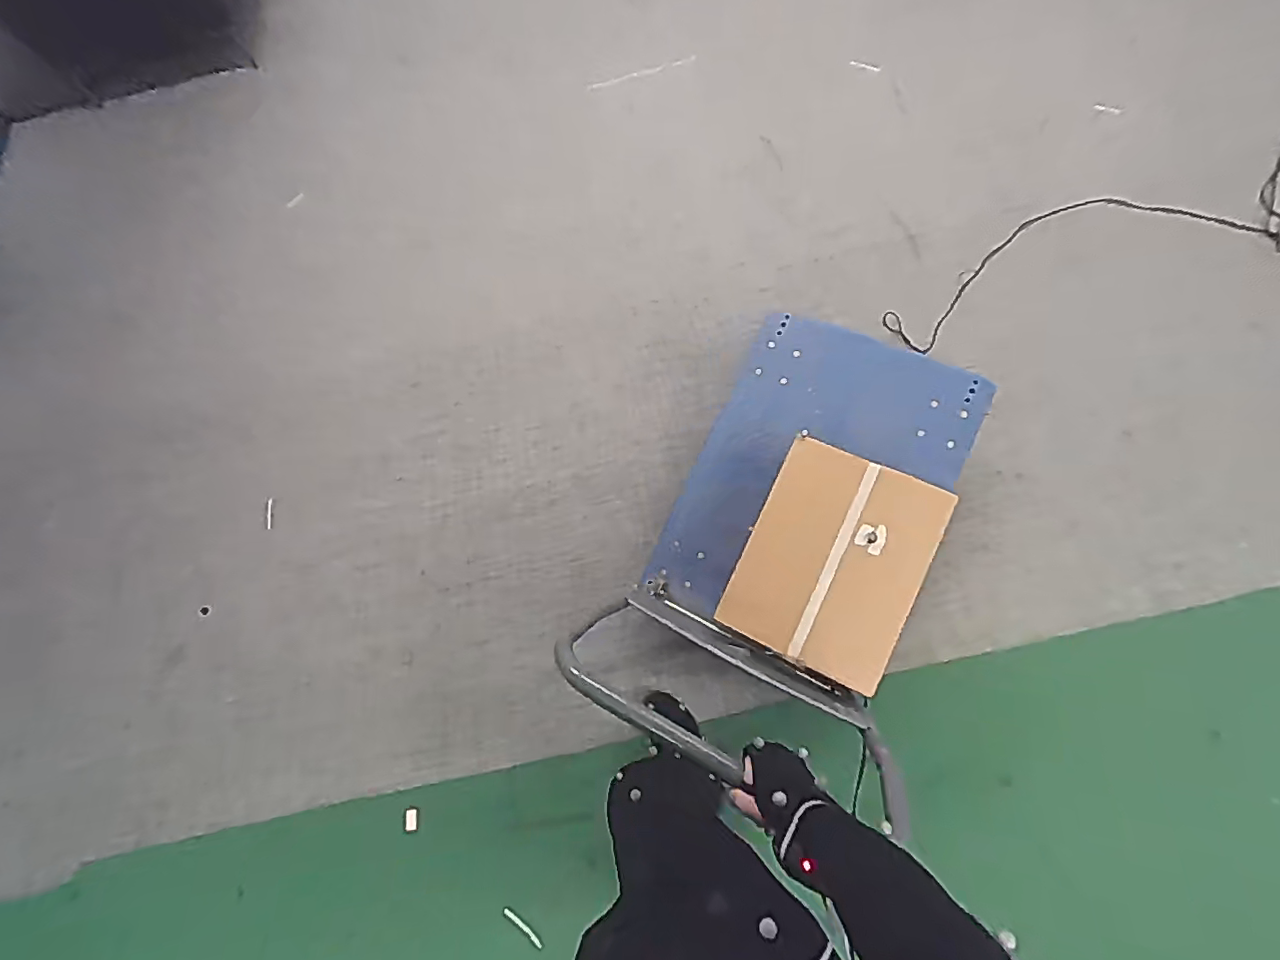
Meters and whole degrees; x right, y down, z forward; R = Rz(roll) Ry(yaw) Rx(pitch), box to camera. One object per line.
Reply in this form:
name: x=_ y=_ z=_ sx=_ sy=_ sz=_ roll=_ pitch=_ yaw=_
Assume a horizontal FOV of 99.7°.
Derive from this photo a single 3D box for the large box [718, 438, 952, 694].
large box: x=0.398 y=0.182 z=1.171 sx=0.320 sy=0.320 sz=0.408 roll=25 pitch=85 yaw=15
